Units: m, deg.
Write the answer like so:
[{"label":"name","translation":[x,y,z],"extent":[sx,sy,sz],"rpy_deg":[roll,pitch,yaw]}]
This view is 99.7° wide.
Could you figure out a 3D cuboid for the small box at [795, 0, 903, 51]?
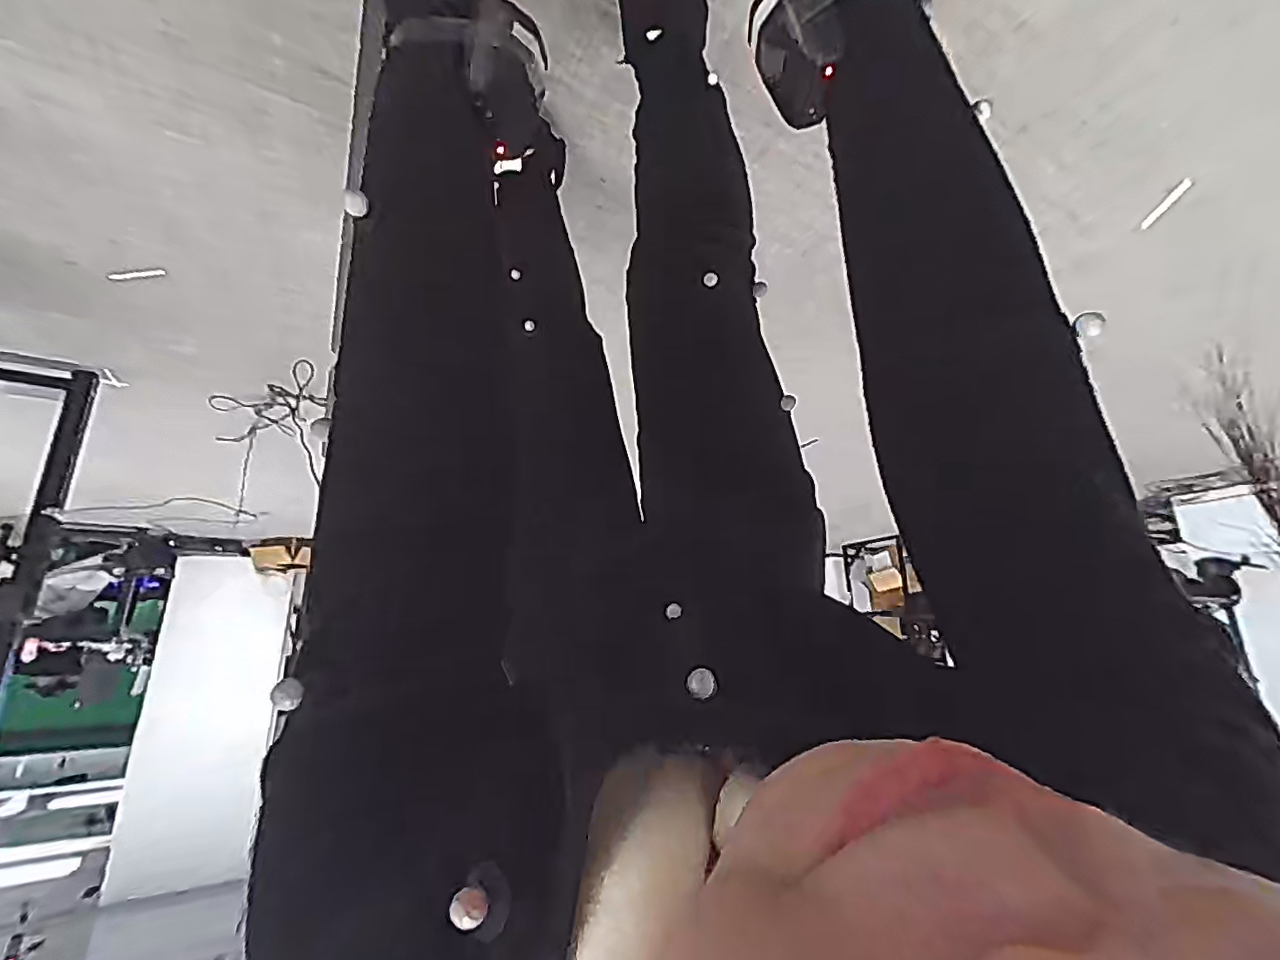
[{"label":"small box","translation":[0.223,-0.606,0.539],"extent":[0.168,0.176,0.179],"rpy_deg":[10,160,-36]}]
